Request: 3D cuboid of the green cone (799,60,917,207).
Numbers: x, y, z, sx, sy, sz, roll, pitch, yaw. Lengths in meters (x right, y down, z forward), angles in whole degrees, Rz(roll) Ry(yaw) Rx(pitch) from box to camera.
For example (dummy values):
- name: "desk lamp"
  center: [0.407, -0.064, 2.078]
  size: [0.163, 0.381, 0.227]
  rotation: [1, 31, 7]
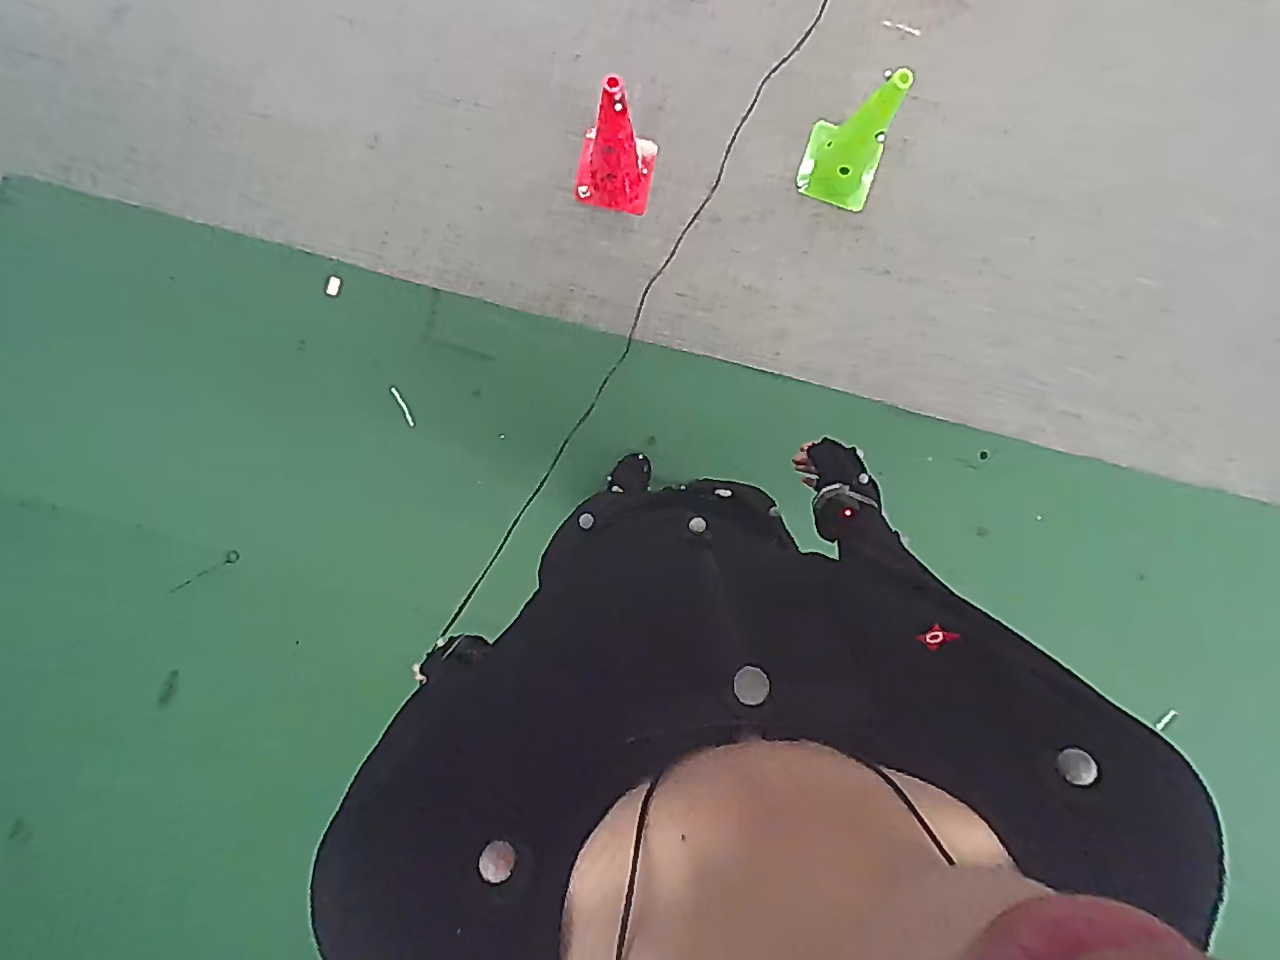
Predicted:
- name: "green cone"
  center: [0.555, -0.857, 1.303]
  size: [0.200, 0.368, 0.202]
  rotation: [17, 91, -2]
